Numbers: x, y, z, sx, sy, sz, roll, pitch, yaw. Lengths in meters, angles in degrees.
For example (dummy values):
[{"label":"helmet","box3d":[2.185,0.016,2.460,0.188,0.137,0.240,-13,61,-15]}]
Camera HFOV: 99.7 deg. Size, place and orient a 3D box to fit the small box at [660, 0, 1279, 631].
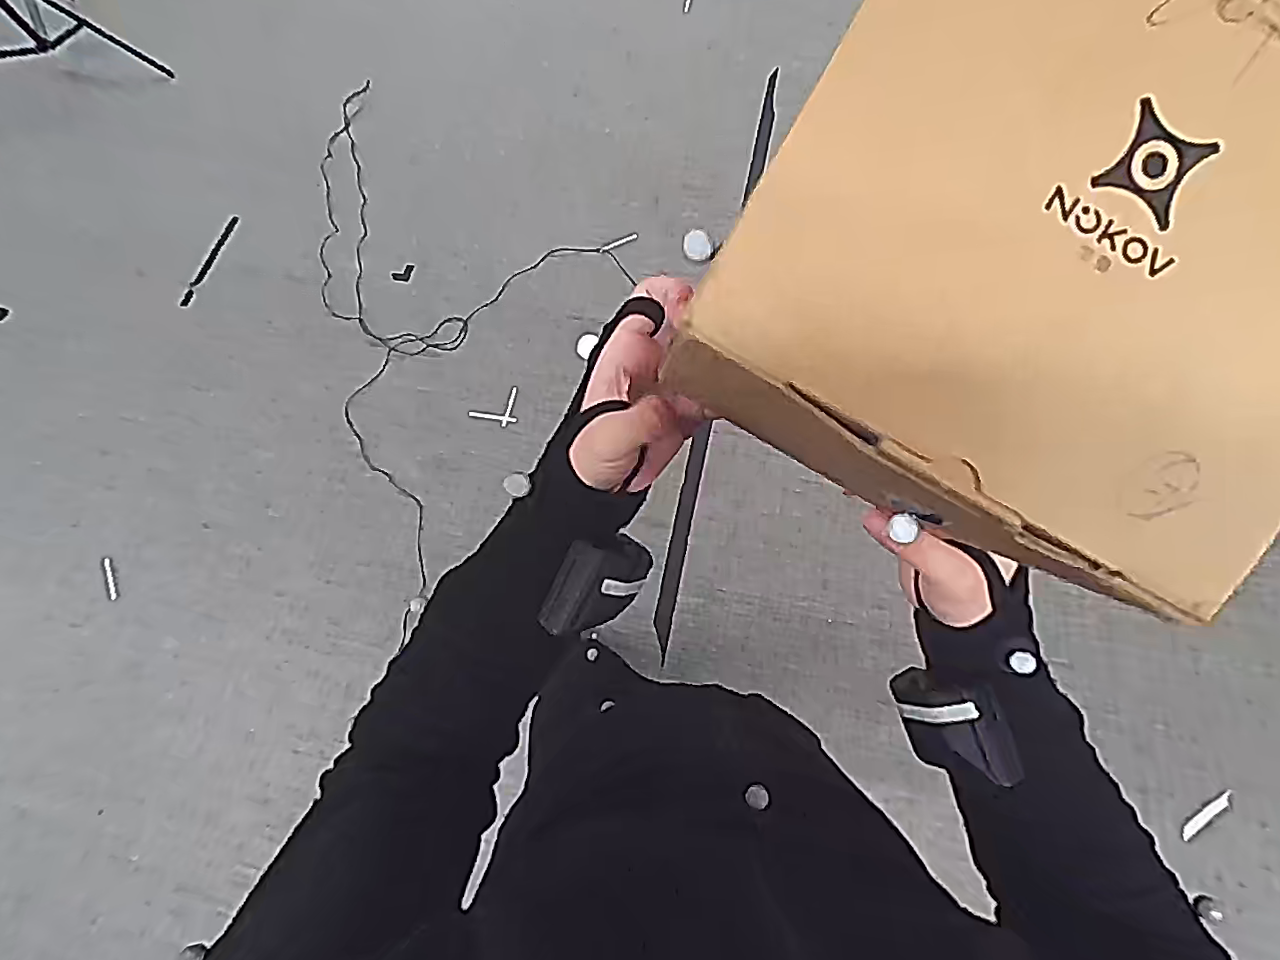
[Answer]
[{"label":"small box","box3d":[0.117,-0.075,0.226,0.168,0.176,0.179,28,94,-4]}]
